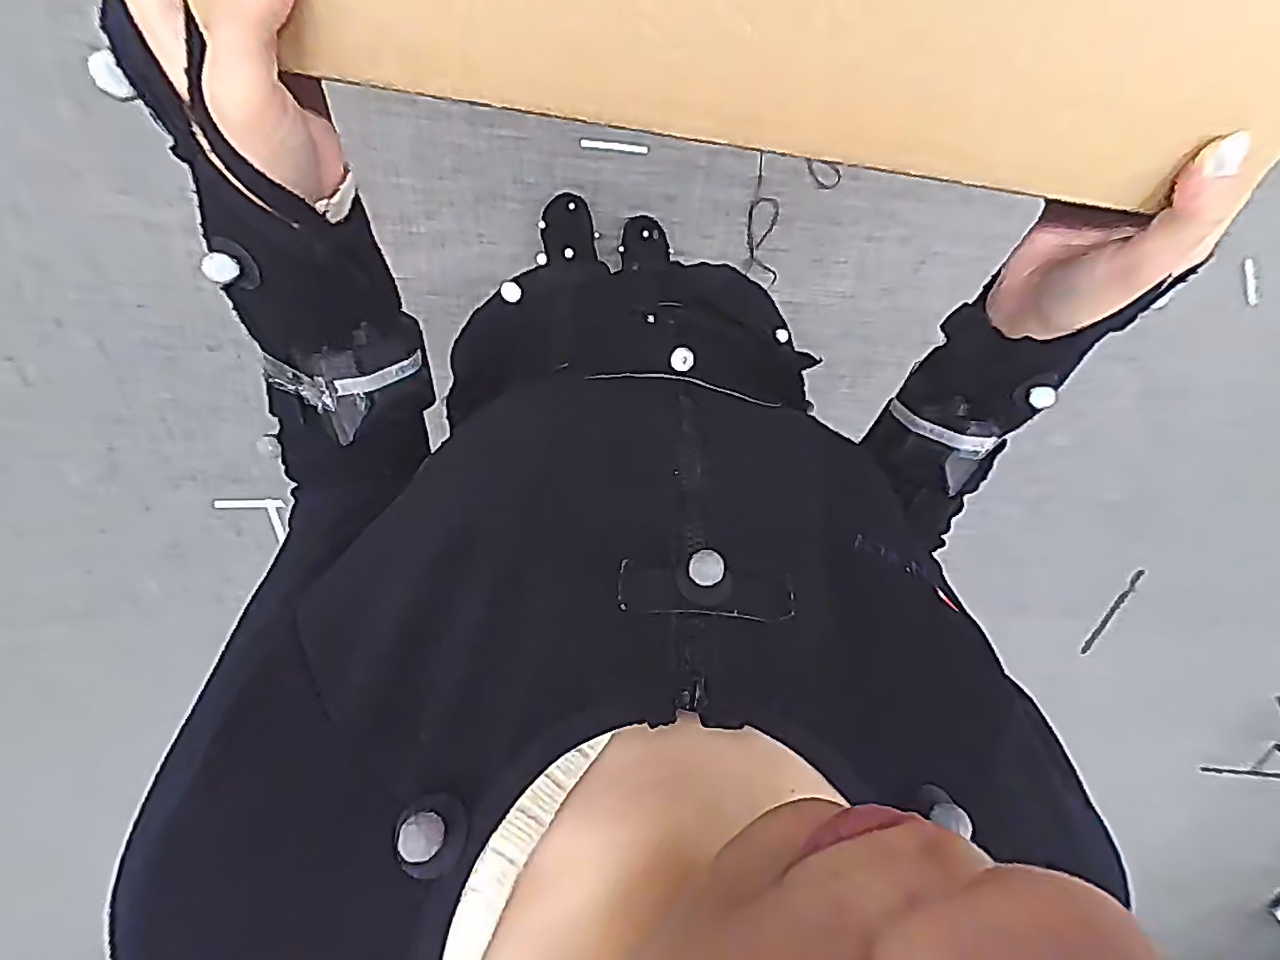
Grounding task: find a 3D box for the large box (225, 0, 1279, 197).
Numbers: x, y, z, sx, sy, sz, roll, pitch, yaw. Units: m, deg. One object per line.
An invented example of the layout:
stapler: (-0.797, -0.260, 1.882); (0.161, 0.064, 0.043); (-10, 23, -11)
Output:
large box: (0.065, -0.348, 0.215); (0.408, 0.320, 0.320); (4, 136, -8)
